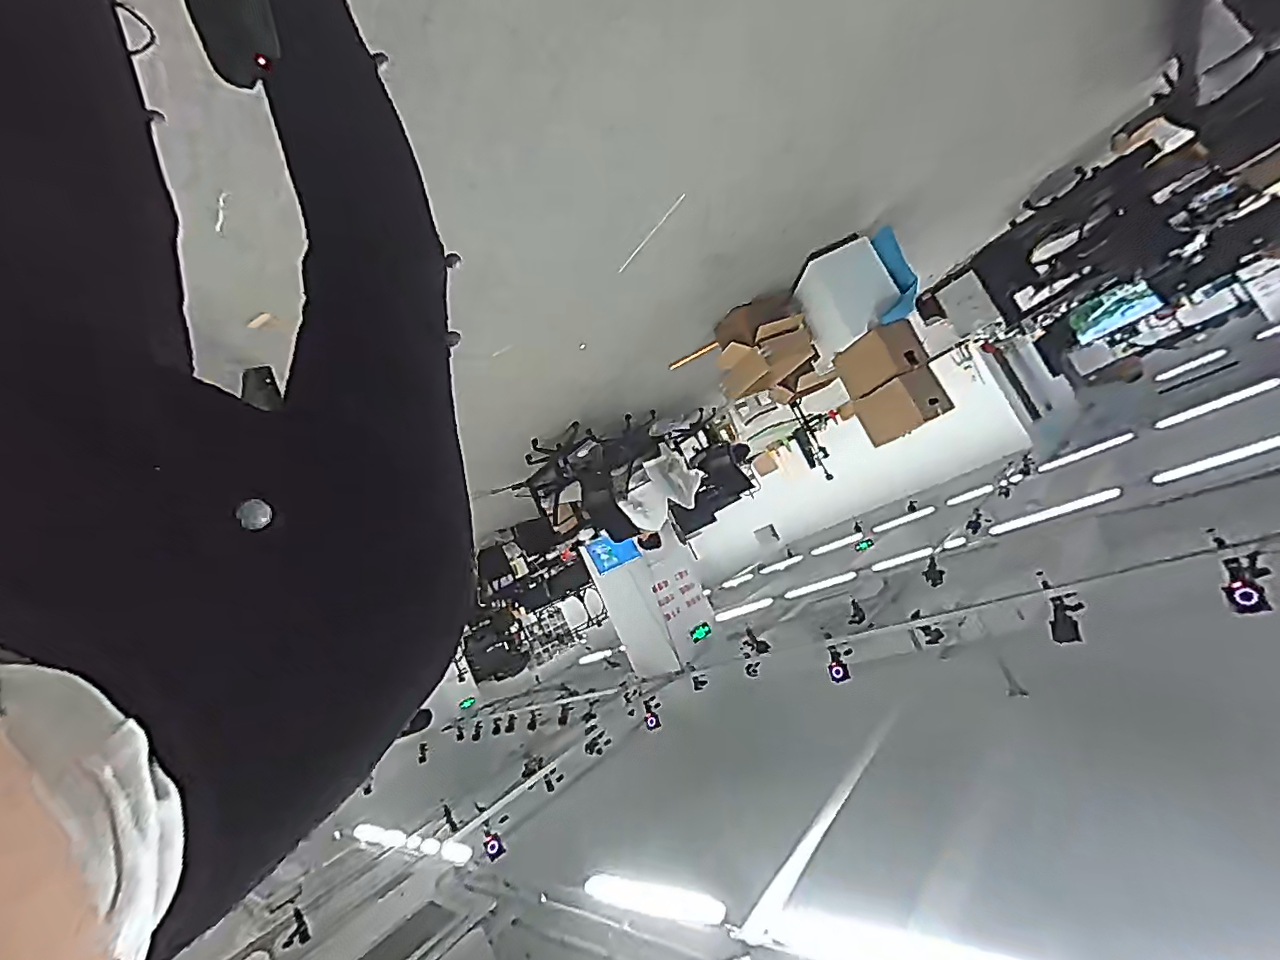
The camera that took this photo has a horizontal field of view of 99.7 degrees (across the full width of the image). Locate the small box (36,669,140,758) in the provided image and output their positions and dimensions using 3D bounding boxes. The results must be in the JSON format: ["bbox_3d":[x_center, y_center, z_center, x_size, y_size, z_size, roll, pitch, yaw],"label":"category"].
[{"bbox_3d":[-1.586,0.665,1.553,0.168,0.176,0.179,-32,169,38],"label":"small box"}]
